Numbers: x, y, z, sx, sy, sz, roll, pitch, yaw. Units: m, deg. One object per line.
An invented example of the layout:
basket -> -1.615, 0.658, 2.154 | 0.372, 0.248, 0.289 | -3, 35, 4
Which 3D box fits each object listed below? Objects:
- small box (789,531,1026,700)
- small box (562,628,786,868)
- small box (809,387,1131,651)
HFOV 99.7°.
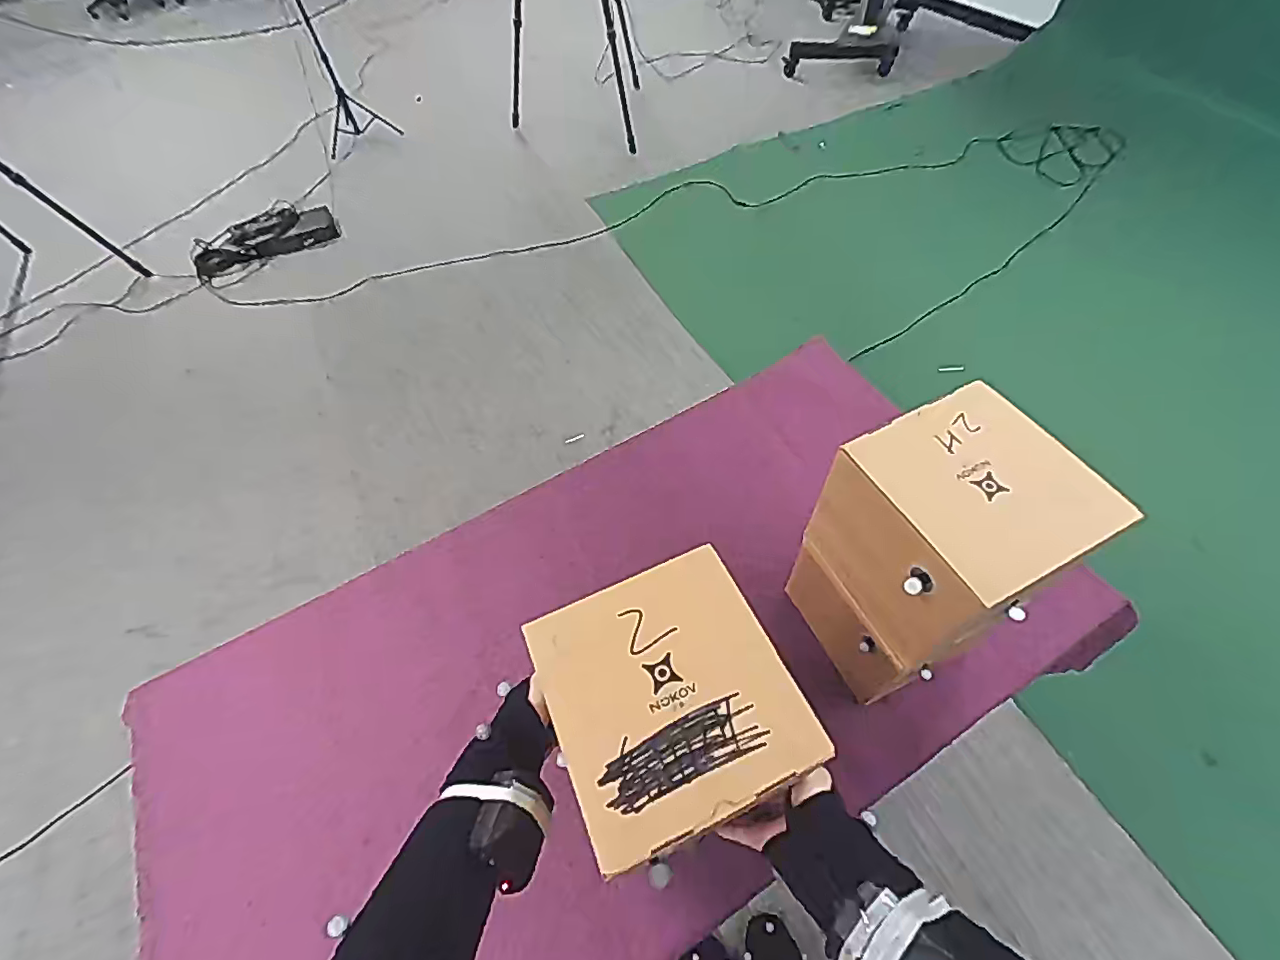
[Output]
small box -> 0.305, 0.141, 0.667 | 0.168, 0.176, 0.179 | -24, 57, -11
small box -> 0.034, 0.293, 0.585 | 0.179, 0.176, 0.168 | -20, 56, -8
small box -> 0.294, 0.048, 0.531 | 0.168, 0.176, 0.179 | -24, 57, -12
